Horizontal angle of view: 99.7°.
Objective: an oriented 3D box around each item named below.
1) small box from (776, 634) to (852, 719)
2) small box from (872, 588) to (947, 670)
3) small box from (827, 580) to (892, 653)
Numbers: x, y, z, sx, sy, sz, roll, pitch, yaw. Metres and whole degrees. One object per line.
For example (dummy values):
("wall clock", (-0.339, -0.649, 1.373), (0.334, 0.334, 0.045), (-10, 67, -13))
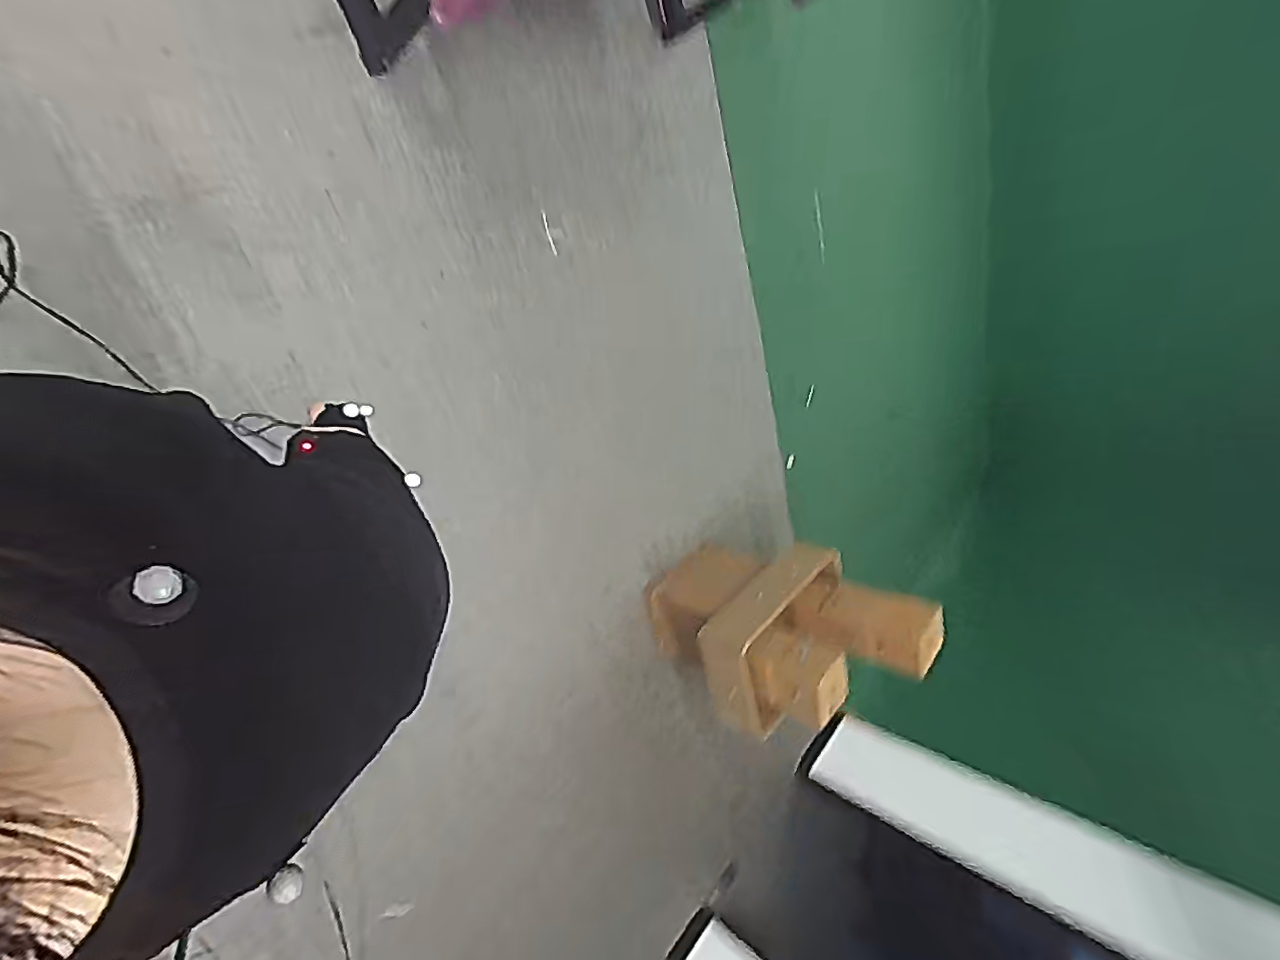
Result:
("small box", (0.553, 0.615, 1.726), (0.168, 0.176, 0.179), (-29, 115, -35))
("small box", (0.899, 0.486, 1.800), (0.179, 0.176, 0.168), (-37, 120, -31))
("small box", (0.780, 0.472, 1.911), (0.168, 0.176, 0.179), (-36, 120, -32))
